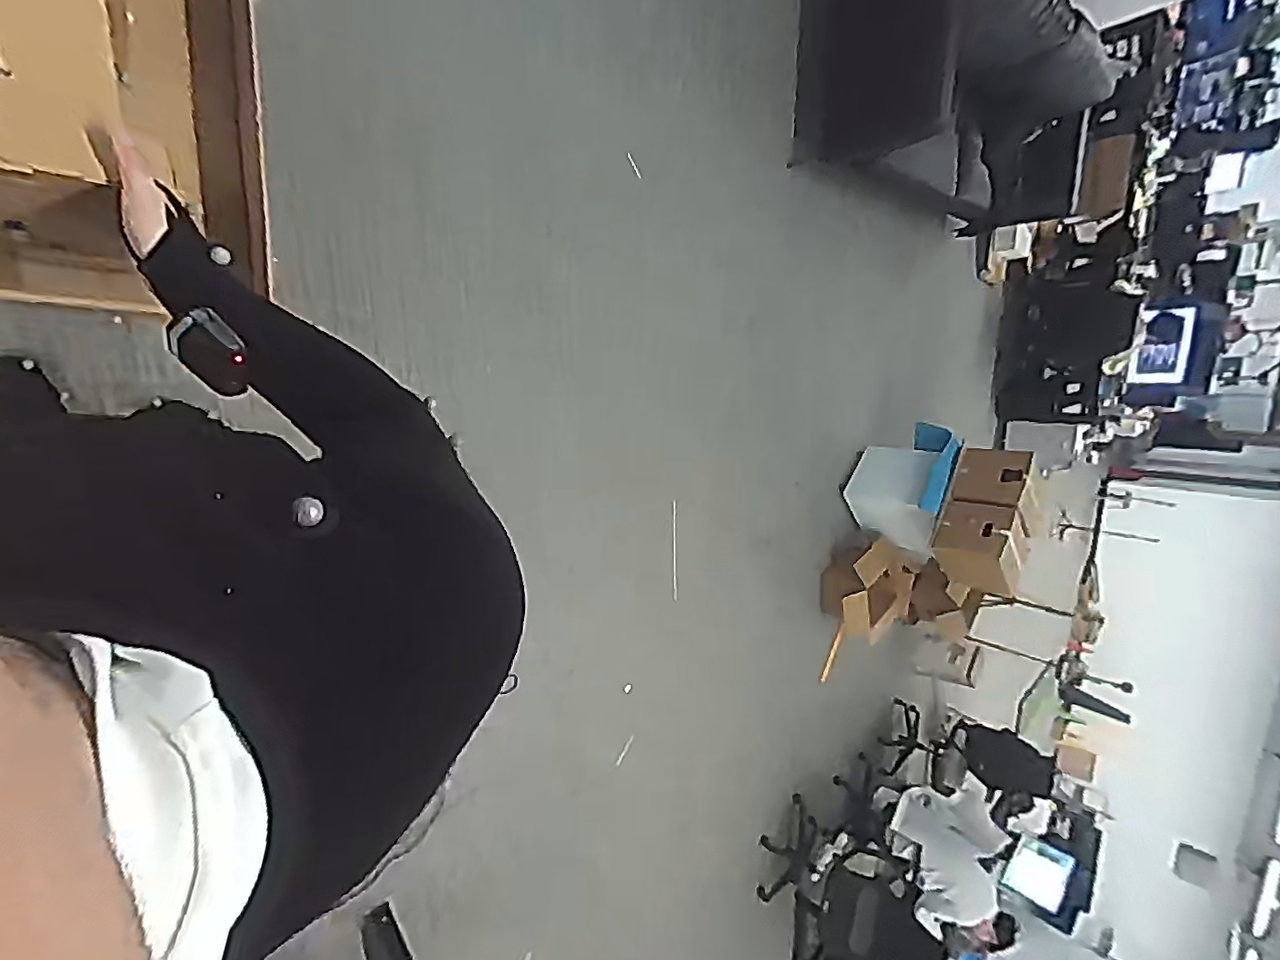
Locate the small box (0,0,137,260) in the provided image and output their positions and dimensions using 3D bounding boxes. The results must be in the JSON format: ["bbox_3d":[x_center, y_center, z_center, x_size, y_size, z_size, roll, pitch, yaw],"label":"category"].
[{"bbox_3d":[-0.570,-0.325,0.481,0.168,0.176,0.179,-7,90,-41],"label":"small box"}]
